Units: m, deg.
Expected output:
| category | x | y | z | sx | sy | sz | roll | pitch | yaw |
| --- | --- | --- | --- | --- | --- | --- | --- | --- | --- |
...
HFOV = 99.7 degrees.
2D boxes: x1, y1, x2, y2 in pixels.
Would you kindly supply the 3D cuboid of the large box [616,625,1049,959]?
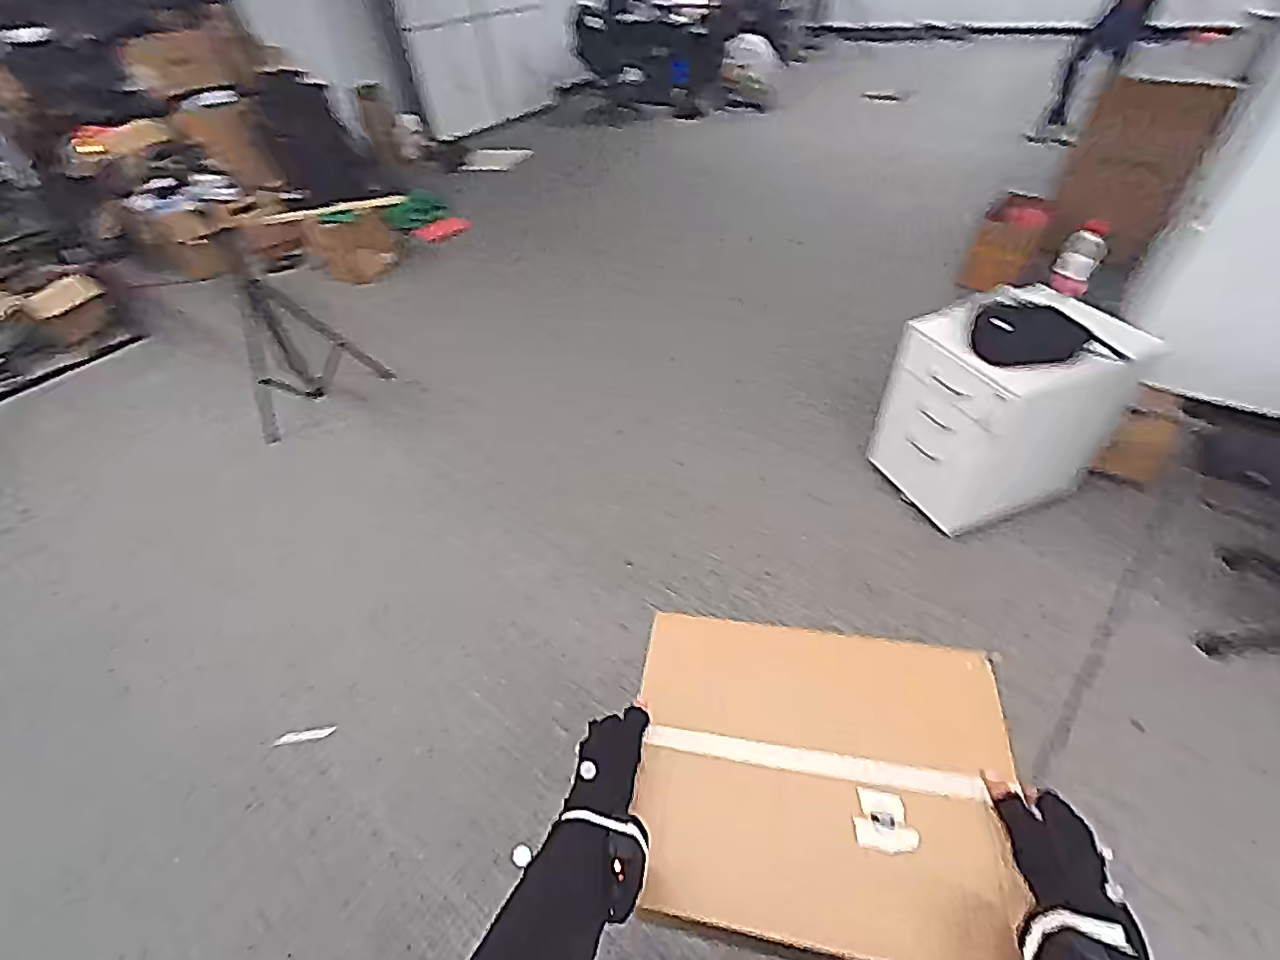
| category | x | y | z | sx | sy | sz | roll | pitch | yaw |
| --- | --- | --- | --- | --- | --- | --- | --- | --- | --- |
| large box | 0.205 | 0.421 | 0.714 | 0.408 | 0.320 | 0.320 | 4 | 48 | 11 |
